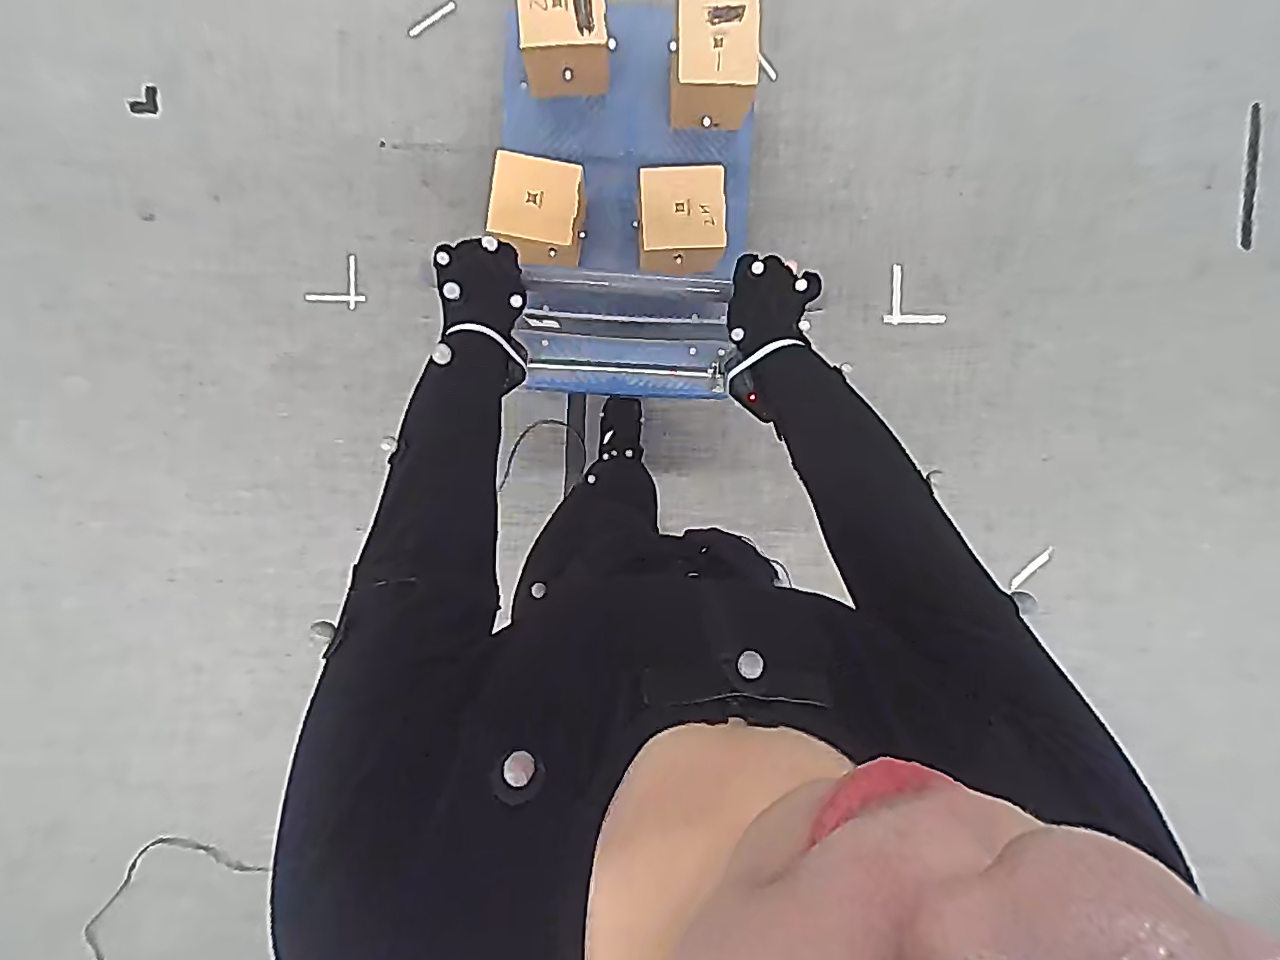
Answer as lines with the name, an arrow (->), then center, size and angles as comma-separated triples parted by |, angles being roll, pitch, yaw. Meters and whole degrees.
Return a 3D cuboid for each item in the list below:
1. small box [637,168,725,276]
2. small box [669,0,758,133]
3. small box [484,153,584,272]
small box -> 0.082, -0.556, 1.184 | 0.179, 0.176, 0.168 | -3, 94, -2
small box -> 0.151, -0.888, 1.165 | 0.168, 0.176, 0.179 | -1, 95, -2
small box -> -0.222, -0.568, 1.171 | 0.179, 0.176, 0.168 | 8, 93, -4
